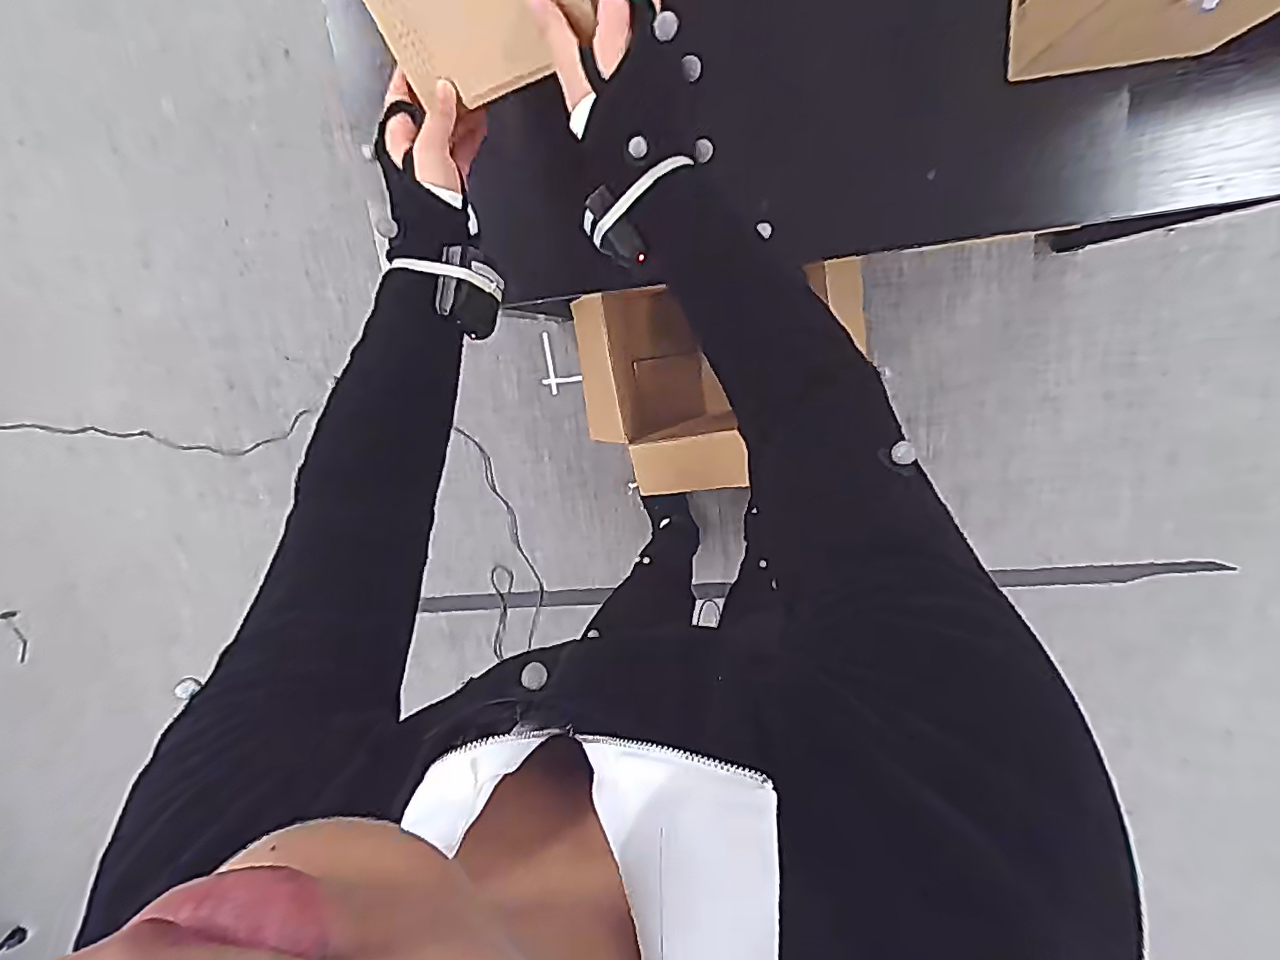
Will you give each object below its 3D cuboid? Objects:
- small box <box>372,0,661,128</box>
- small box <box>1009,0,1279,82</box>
[{"bbox_3d":[-0.108,-0.413,0.410,0.176,0.168,0.179,-3,137,28],"label":"small box"},{"bbox_3d":[0.420,-0.441,0.414,0.179,0.176,0.168,-4,104,6],"label":"small box"}]
